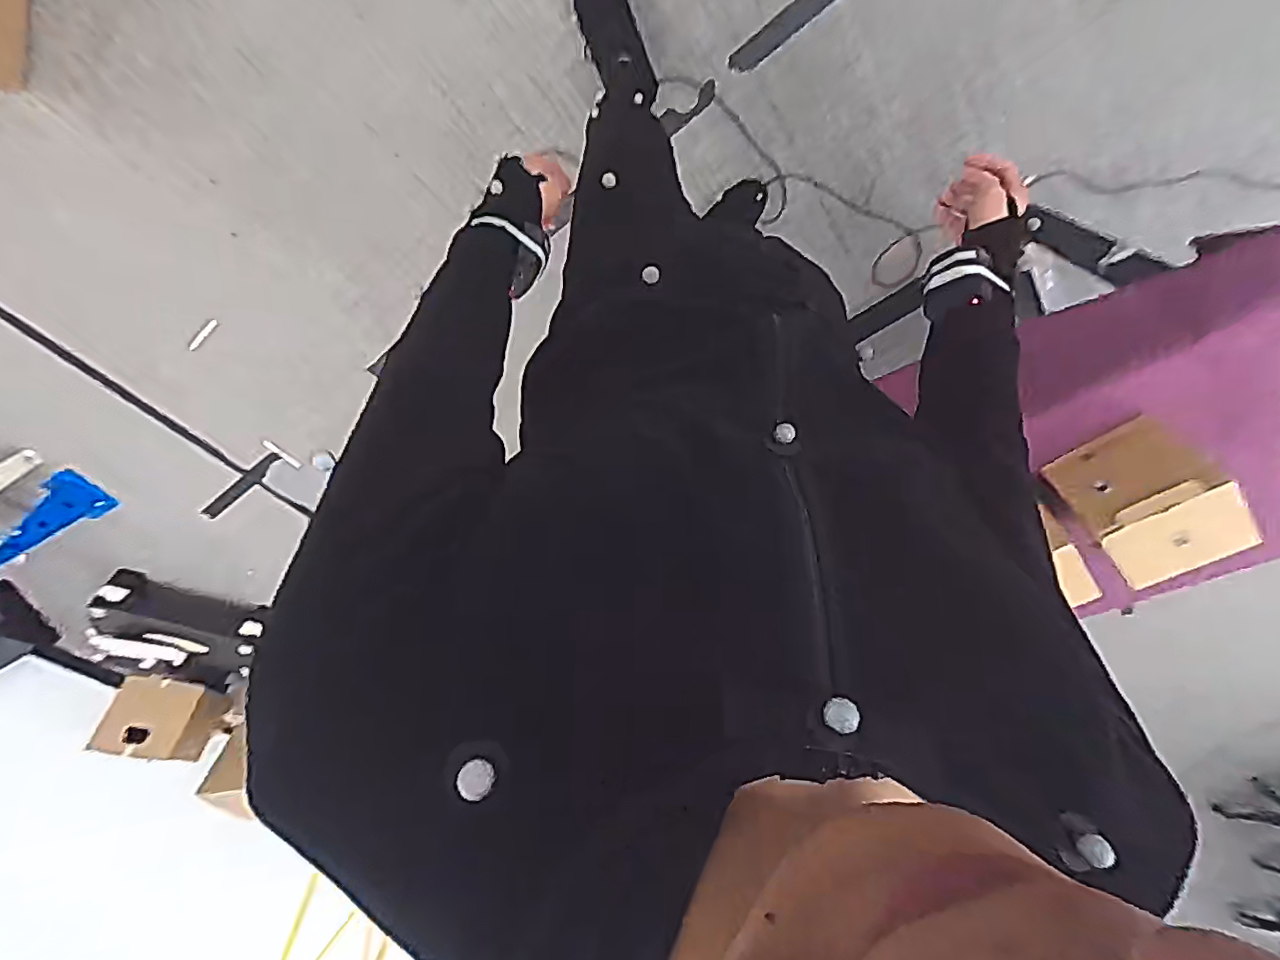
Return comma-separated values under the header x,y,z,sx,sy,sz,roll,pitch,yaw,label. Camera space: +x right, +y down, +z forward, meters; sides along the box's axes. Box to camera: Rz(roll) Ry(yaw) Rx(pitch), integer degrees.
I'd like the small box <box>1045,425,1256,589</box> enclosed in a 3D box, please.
x,y,z,sx,sy,sz,roll,pitch,yaw,label
0.798,0.036,0.863,0.179,0.176,0.168,38,122,-26,small box

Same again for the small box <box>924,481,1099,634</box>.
x,y,z,sx,sy,sz,roll,pitch,yaw,label
0.638,0.132,0.947,0.179,0.176,0.168,-33,120,26,small box
